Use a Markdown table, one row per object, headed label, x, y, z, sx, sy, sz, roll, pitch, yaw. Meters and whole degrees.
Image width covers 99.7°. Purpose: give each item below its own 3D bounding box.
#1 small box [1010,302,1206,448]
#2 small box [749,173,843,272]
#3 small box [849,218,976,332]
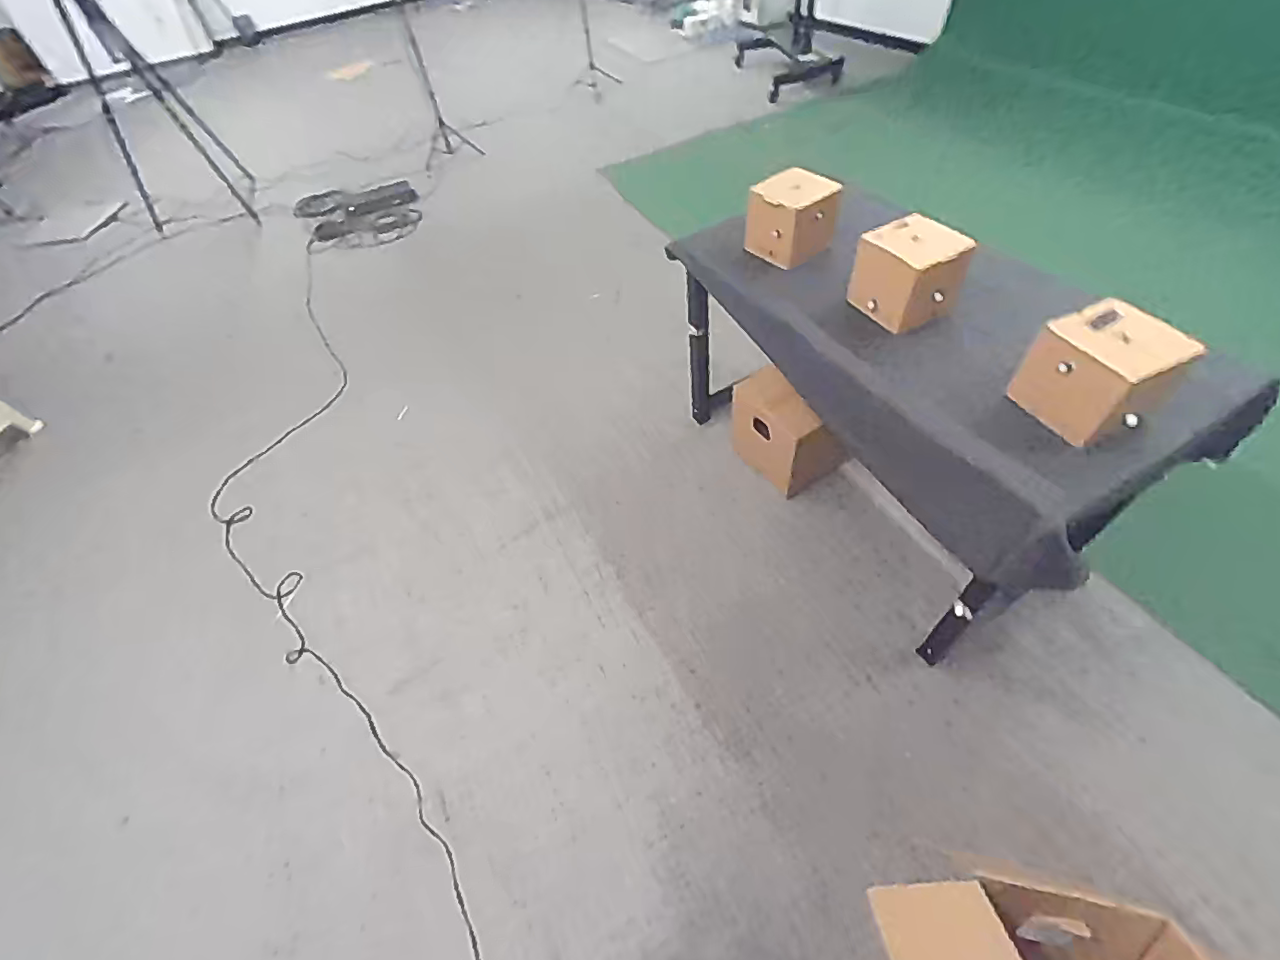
| label | x | y | z | sx | sy | sz | roll | pitch | yaw |
| --- | --- | --- | --- | --- | --- | --- | --- | --- | --- |
| small box | 0.834 | -0.189 | 0.989 | 0.168 | 0.176 | 0.179 | -21 | 52 | -9 |
| small box | 0.409 | -0.687 | 1.452 | 0.179 | 0.176 | 0.168 | -32 | 56 | -20 |
| small box | 0.614 | -0.462 | 1.242 | 0.168 | 0.176 | 0.179 | -24 | 53 | -12 |
